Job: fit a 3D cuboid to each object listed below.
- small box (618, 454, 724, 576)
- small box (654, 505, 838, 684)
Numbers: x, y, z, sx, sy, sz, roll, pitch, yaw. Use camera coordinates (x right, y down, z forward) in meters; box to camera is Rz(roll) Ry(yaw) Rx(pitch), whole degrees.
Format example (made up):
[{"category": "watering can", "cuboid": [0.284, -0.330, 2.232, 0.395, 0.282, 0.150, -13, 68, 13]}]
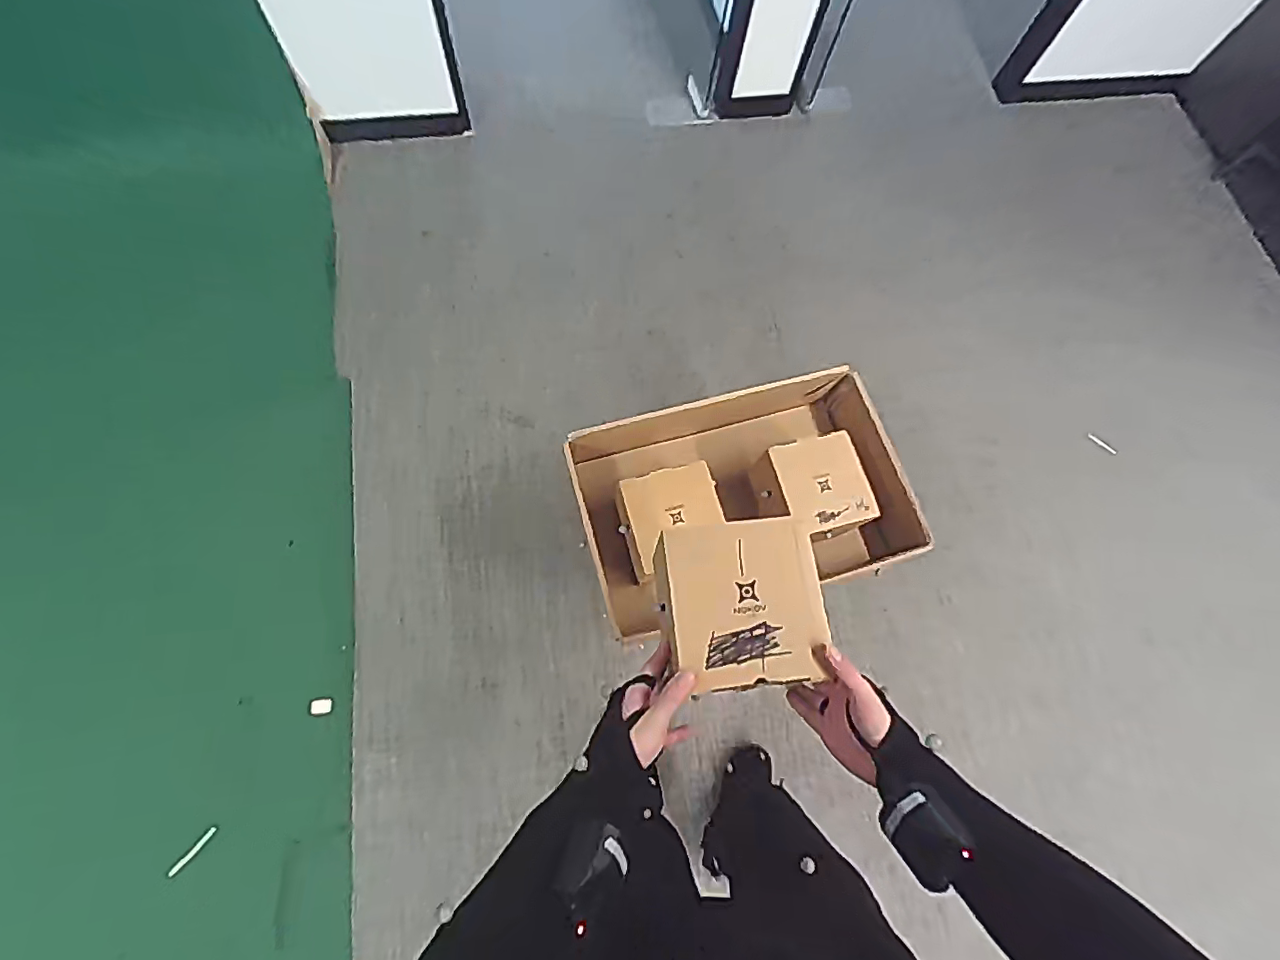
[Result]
[{"category": "small box", "cuboid": [0.058, 0.074, 1.011, 0.168, 0.176, 0.179, -14, 74, -8]}, {"category": "small box", "cuboid": [0.111, 0.140, 0.645, 0.168, 0.176, 0.179, -5, 71, -5]}]
